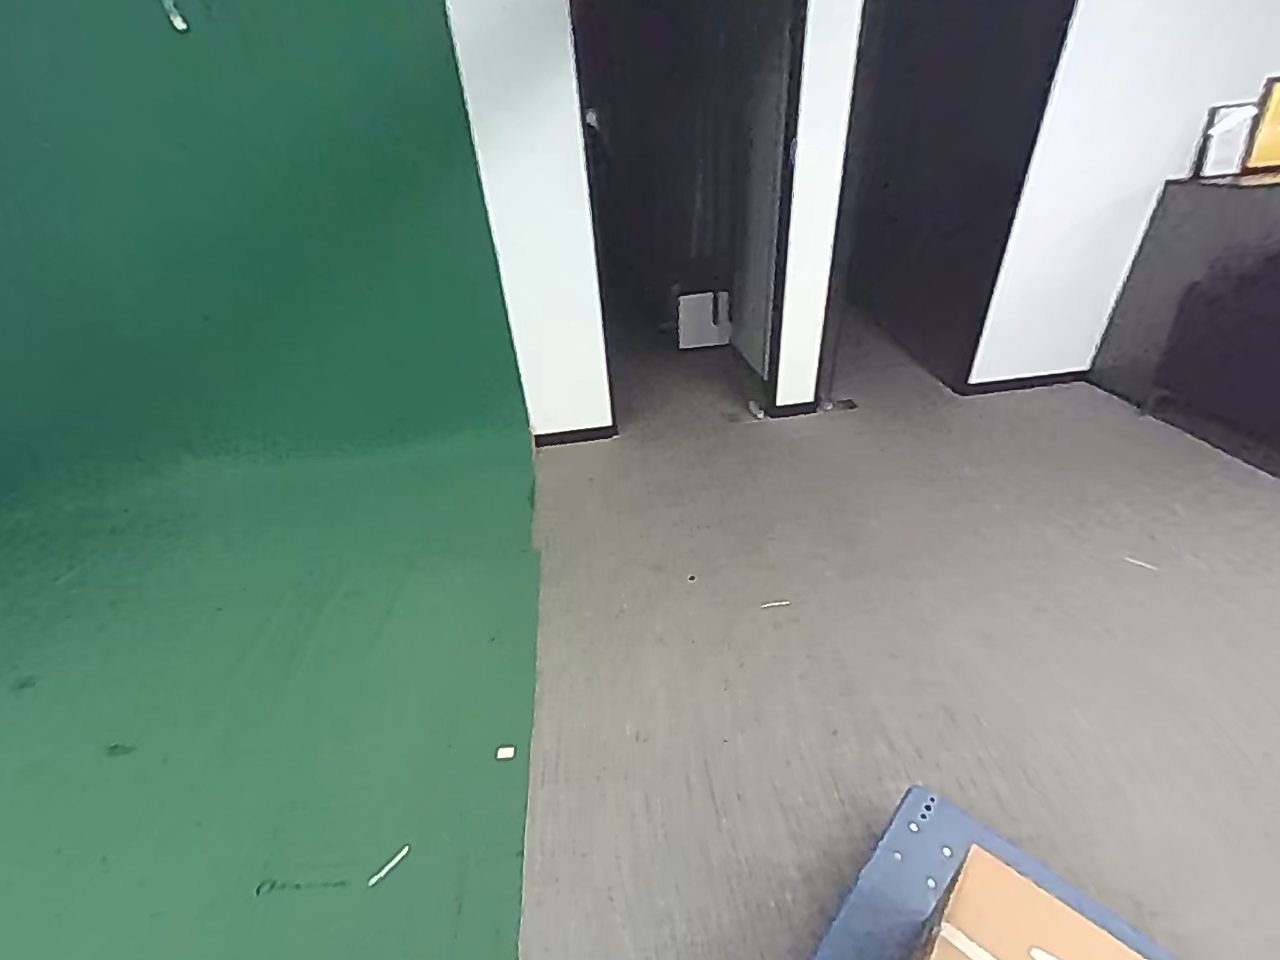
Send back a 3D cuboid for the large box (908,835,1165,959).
[{"bbox_3d":[0.615,0.856,0.796,0.408,0.320,0.320,23,43,37],"label":"large box"}]
